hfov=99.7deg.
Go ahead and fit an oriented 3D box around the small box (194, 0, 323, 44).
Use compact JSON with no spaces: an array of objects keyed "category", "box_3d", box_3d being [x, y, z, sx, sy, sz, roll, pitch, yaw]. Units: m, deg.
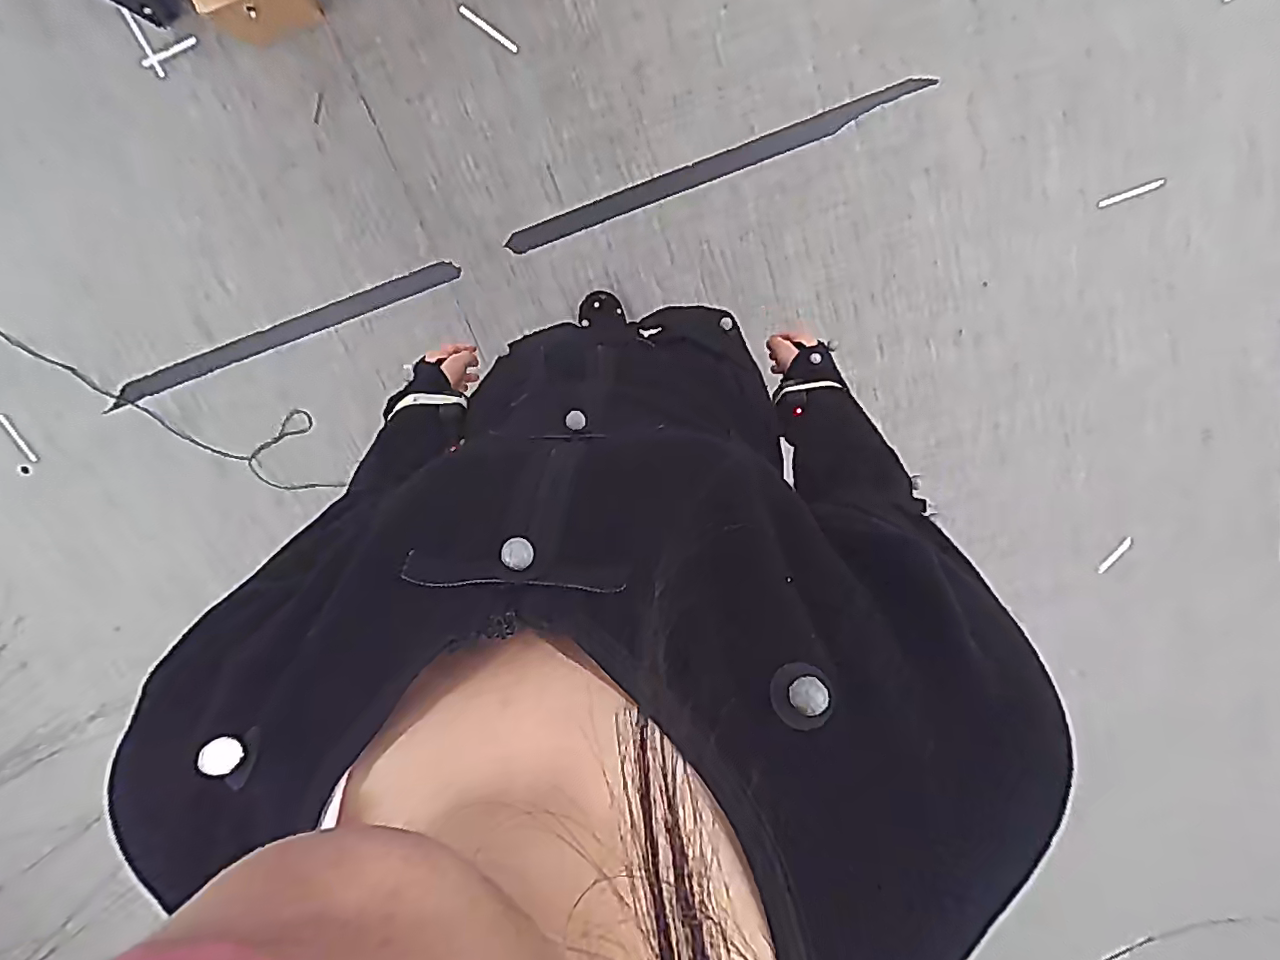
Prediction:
[{"category":"small box","box_3d":[-0.781,-1.012,1.069,0.179,0.176,0.168,-18,110,5]}]
